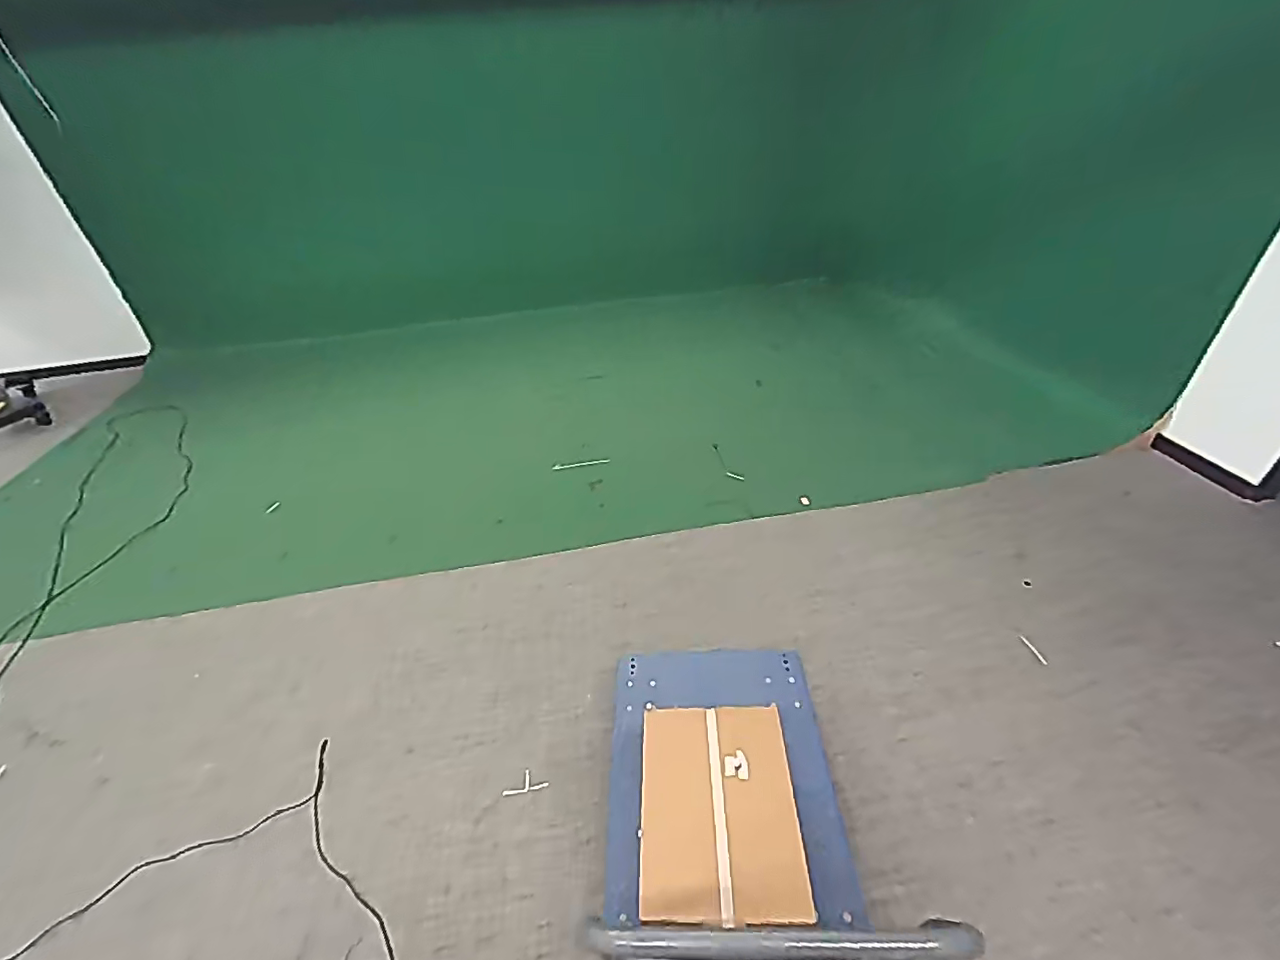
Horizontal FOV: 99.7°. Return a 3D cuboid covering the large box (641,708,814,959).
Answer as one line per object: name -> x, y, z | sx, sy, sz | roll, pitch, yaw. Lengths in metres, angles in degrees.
large box -> 0.172, 0.781, 1.203 | 0.320, 0.320, 0.408 | -2, 35, 3
